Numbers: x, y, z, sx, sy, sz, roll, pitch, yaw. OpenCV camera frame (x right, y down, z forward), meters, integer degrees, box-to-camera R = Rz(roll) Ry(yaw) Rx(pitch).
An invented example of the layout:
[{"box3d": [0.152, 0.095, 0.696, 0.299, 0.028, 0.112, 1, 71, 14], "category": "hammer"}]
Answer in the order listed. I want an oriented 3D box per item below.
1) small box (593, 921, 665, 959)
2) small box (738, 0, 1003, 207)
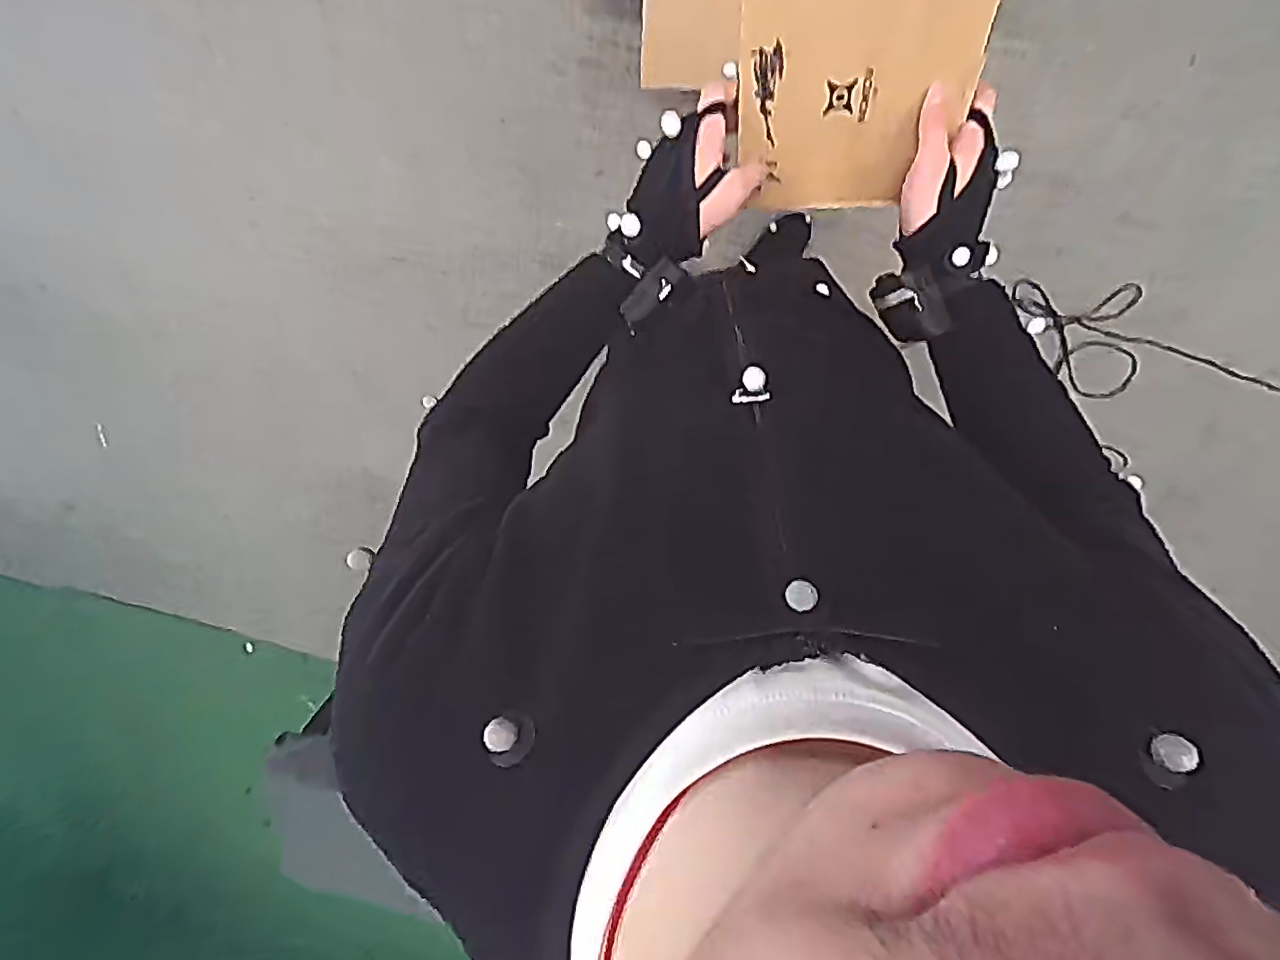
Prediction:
[{"box3d": [-0.042, 1.367, 1.496, 0.179, 0.176, 0.168, 17, 121, 2], "category": "small box"}, {"box3d": [0.181, -0.361, 0.473, 0.179, 0.176, 0.168, 4, 141, 11], "category": "small box"}]
